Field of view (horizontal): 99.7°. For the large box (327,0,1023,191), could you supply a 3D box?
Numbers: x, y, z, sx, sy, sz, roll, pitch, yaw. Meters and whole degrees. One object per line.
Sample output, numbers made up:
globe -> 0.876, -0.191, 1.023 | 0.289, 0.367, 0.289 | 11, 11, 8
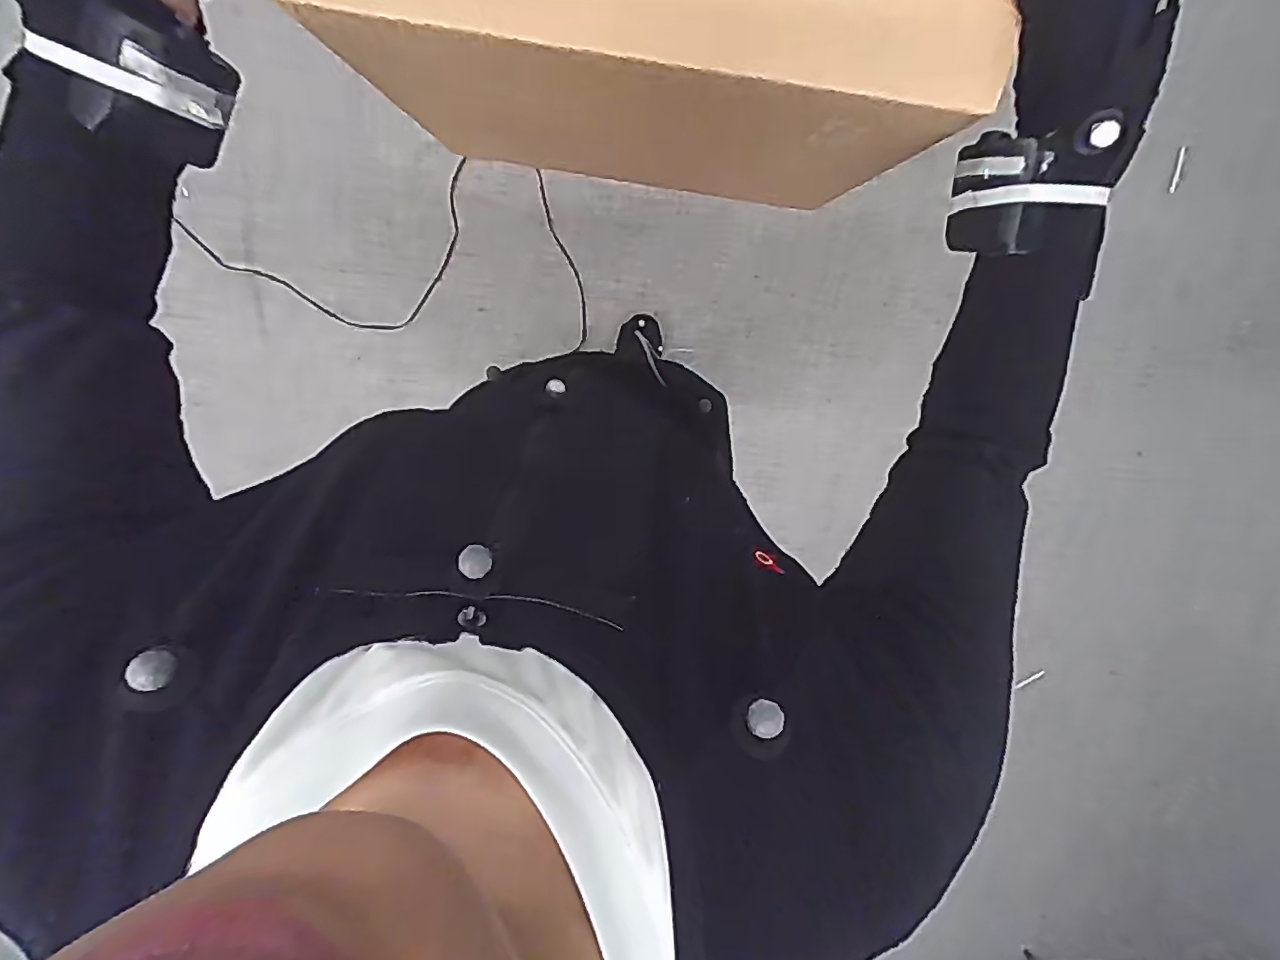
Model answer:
large box -> 0.025, -0.435, 0.401 | 0.408, 0.320, 0.320 | 6, 108, -4
